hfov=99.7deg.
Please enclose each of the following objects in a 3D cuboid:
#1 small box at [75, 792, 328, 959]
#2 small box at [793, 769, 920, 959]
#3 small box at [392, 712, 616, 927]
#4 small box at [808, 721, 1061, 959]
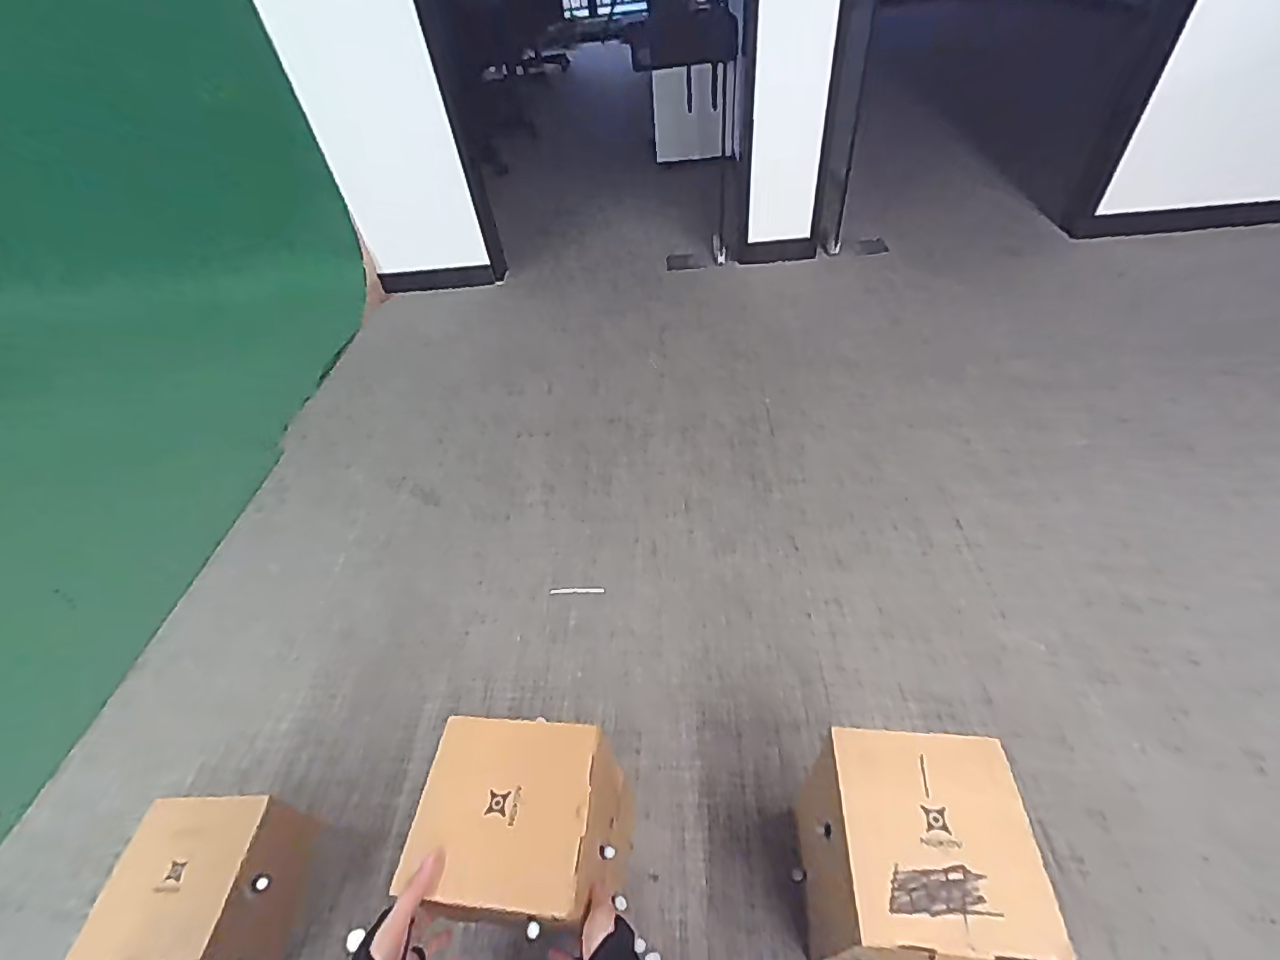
[{"bbox_3d":[-0.563,0.543,0.731,0.168,0.176,0.179,-3,45,4],"label":"small box"},{"bbox_3d":[0.290,0.483,0.673,0.168,0.176,0.179,0,47,7],"label":"small box"},{"bbox_3d":[-0.131,0.378,0.603,0.179,0.176,0.168,1,45,8],"label":"small box"},{"bbox_3d":[0.272,0.371,0.552,0.168,0.176,0.179,0,45,8],"label":"small box"}]
